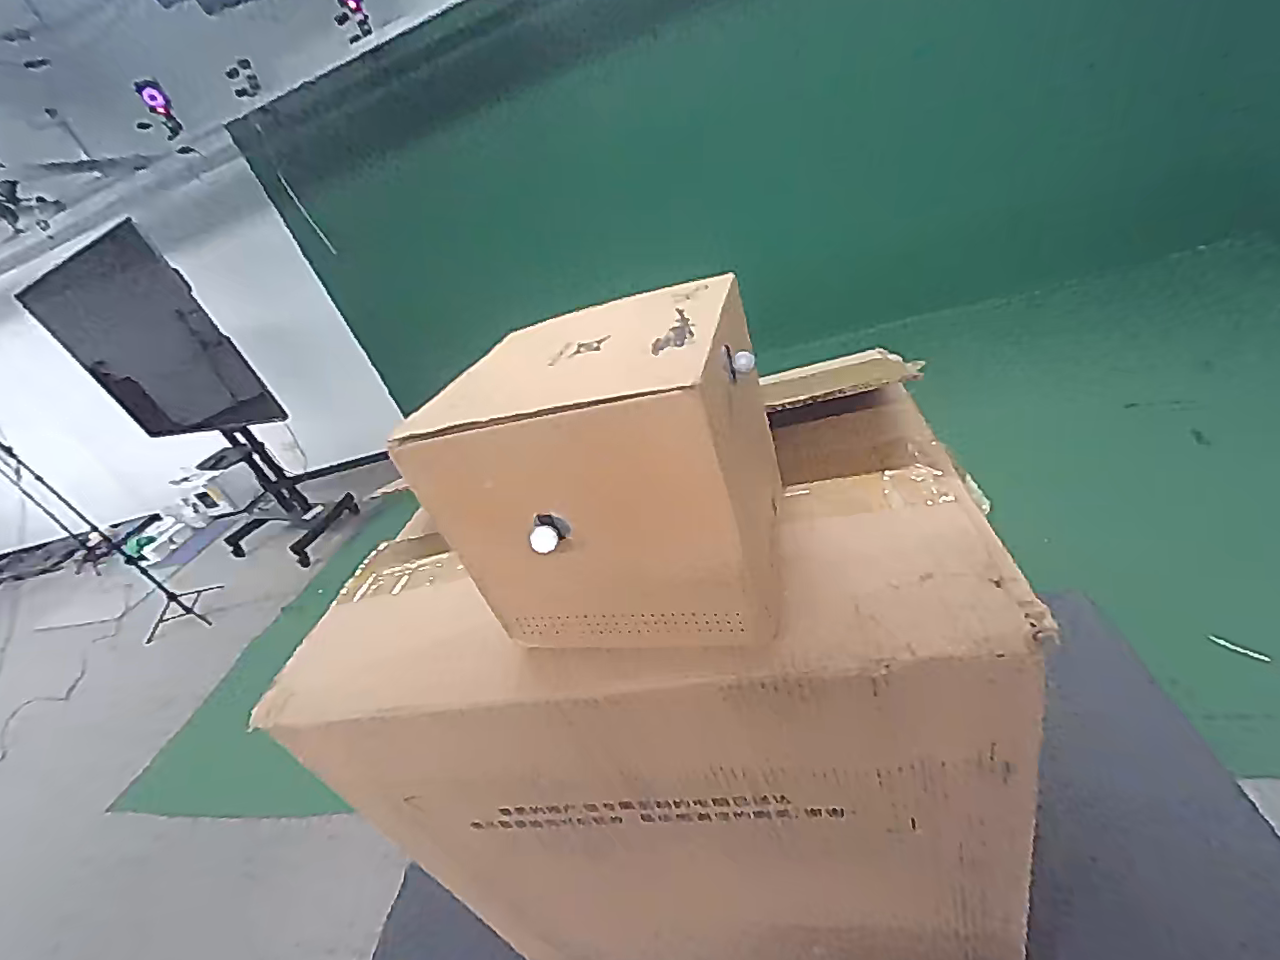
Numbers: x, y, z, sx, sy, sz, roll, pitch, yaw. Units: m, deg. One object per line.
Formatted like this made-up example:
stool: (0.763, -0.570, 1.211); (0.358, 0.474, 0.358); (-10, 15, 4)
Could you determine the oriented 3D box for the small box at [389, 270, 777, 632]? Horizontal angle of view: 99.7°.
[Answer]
small box: (-0.015, -0.015, 0.362); (0.179, 0.176, 0.168); (-7, 34, 21)
